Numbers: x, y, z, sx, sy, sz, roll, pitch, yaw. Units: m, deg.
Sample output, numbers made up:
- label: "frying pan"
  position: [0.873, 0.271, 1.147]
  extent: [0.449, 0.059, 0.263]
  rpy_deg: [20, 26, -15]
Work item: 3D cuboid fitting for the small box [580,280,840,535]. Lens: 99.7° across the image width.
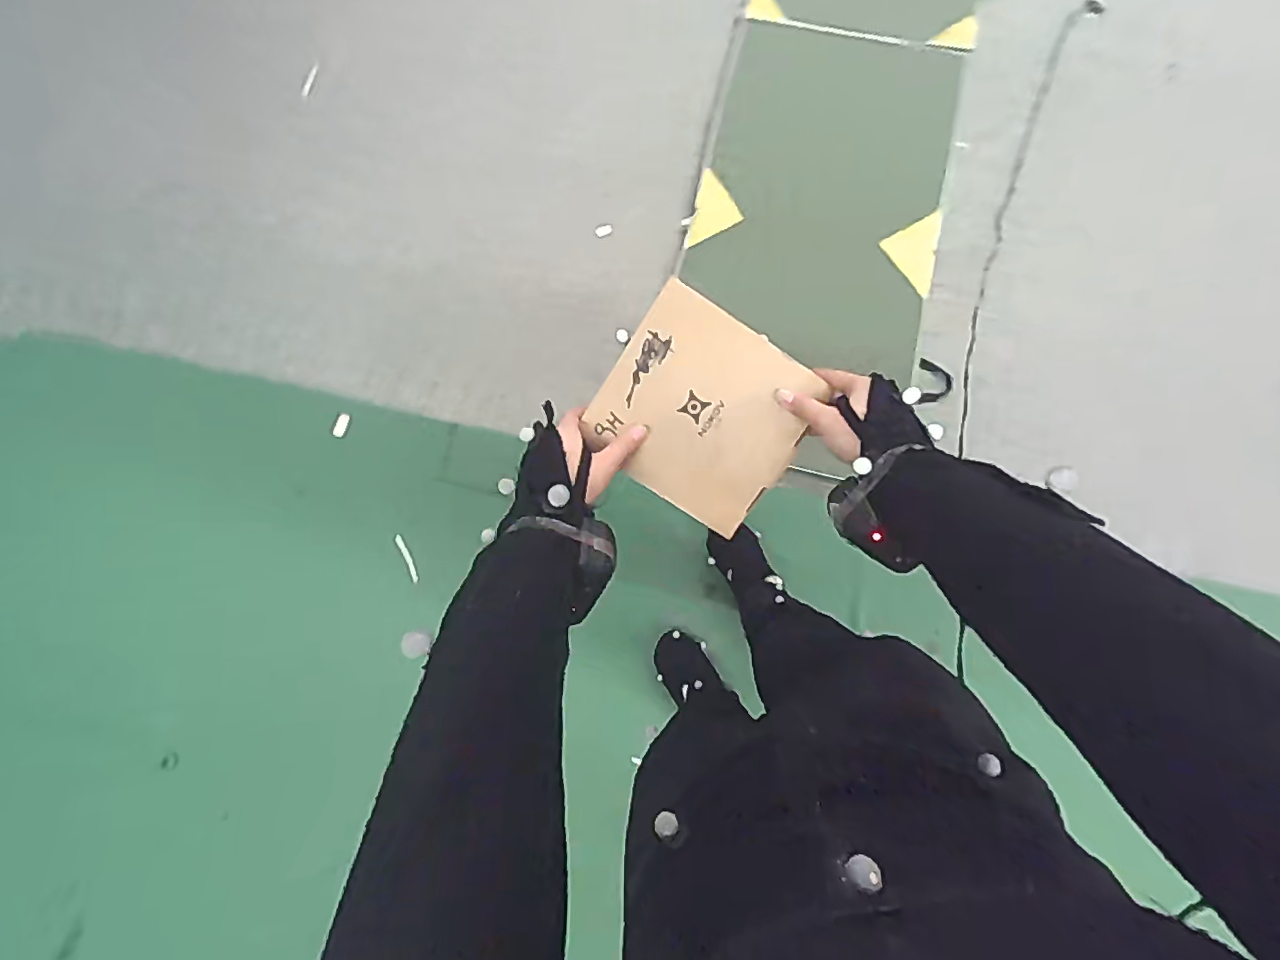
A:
- label: "small box"
  position: [0.062, -0.076, 0.556]
  extent: [0.179, 0.176, 0.168]
  rpy_deg: [34, 99, -6]
